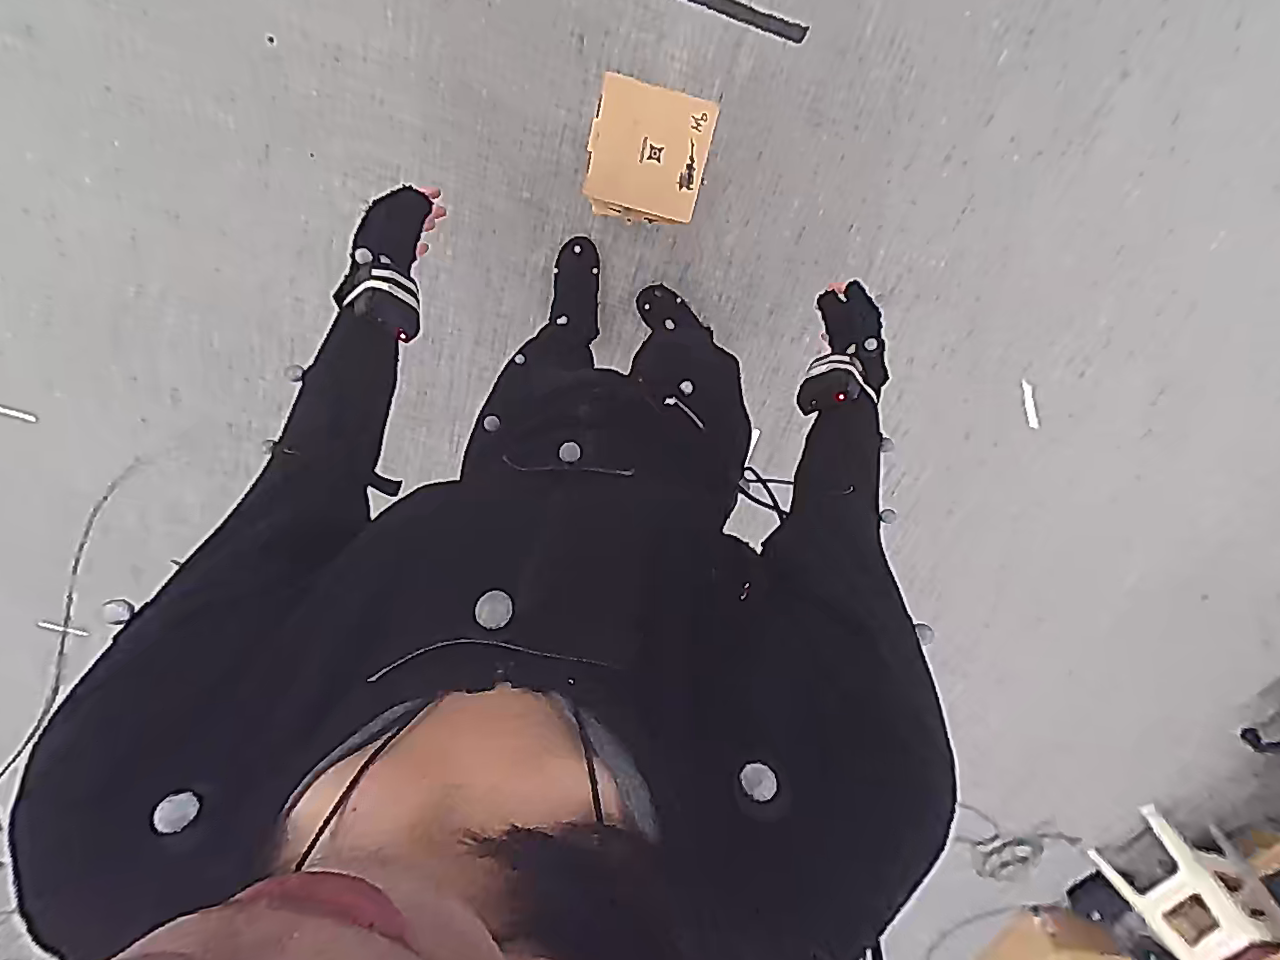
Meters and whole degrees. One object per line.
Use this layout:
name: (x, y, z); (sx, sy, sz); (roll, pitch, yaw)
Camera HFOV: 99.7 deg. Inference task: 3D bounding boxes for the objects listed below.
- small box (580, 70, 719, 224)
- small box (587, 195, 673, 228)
small box: (0.011, -0.527, 0.881); (0.179, 0.176, 0.168); (13, 115, -7)
small box: (0.001, -0.594, 1.030); (0.168, 0.176, 0.179); (12, 114, -8)
